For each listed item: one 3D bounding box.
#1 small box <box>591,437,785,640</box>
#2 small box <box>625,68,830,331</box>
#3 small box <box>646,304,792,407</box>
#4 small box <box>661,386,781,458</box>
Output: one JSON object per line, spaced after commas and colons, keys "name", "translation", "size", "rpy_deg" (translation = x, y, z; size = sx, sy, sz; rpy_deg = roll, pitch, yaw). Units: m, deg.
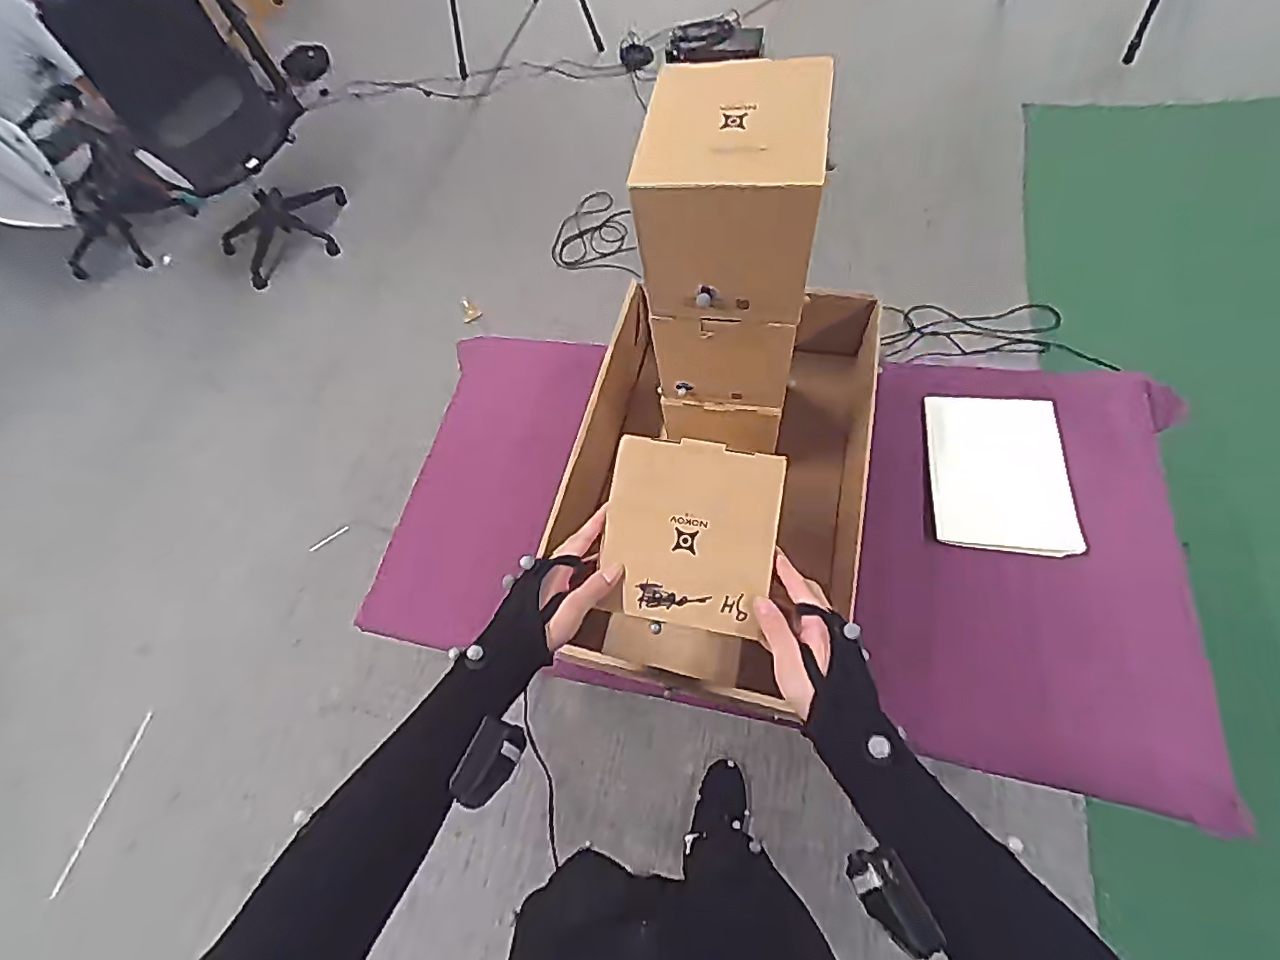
{"name": "small box", "translation": [0.057, 0.068, 0.602], "size": [0.168, 0.176, 0.179], "rpy_deg": [9, 80, 10]}
{"name": "small box", "translation": [0.092, -0.282, 0.557], "size": [0.168, 0.176, 0.179], "rpy_deg": [7, 66, 12]}
{"name": "small box", "translation": [0.113, -0.213, 0.703], "size": [0.168, 0.176, 0.179], "rpy_deg": [7, 65, 12]}
{"name": "small box", "translation": [0.135, -0.135, 0.846], "size": [0.168, 0.176, 0.179], "rpy_deg": [7, 66, 12]}
